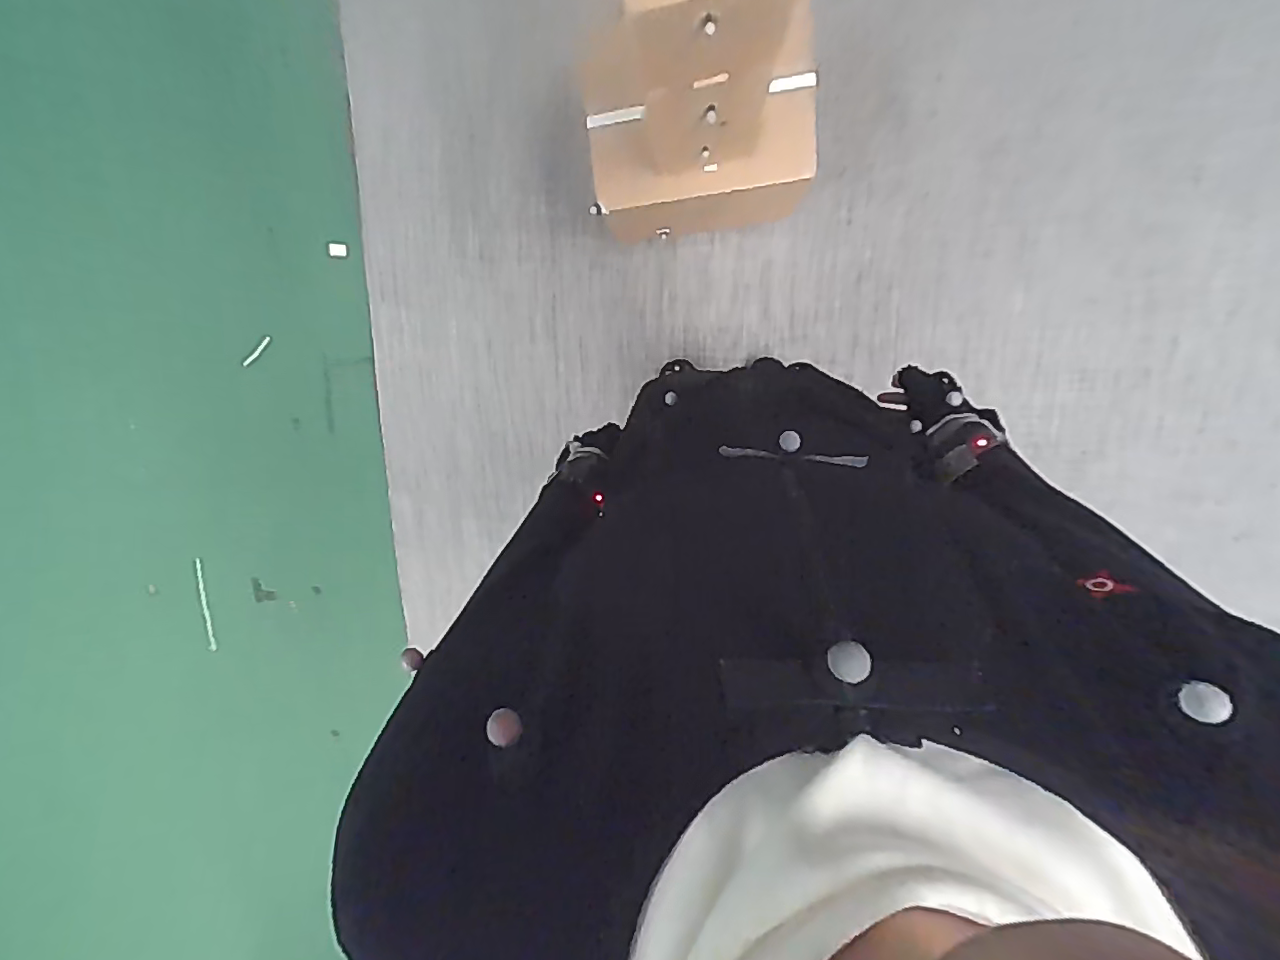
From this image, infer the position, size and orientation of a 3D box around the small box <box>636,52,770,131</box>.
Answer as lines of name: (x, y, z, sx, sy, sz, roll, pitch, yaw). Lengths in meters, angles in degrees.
small box: (0.076, -0.596, 0.722, 0.168, 0.176, 0.179, -8, 103, 9)
